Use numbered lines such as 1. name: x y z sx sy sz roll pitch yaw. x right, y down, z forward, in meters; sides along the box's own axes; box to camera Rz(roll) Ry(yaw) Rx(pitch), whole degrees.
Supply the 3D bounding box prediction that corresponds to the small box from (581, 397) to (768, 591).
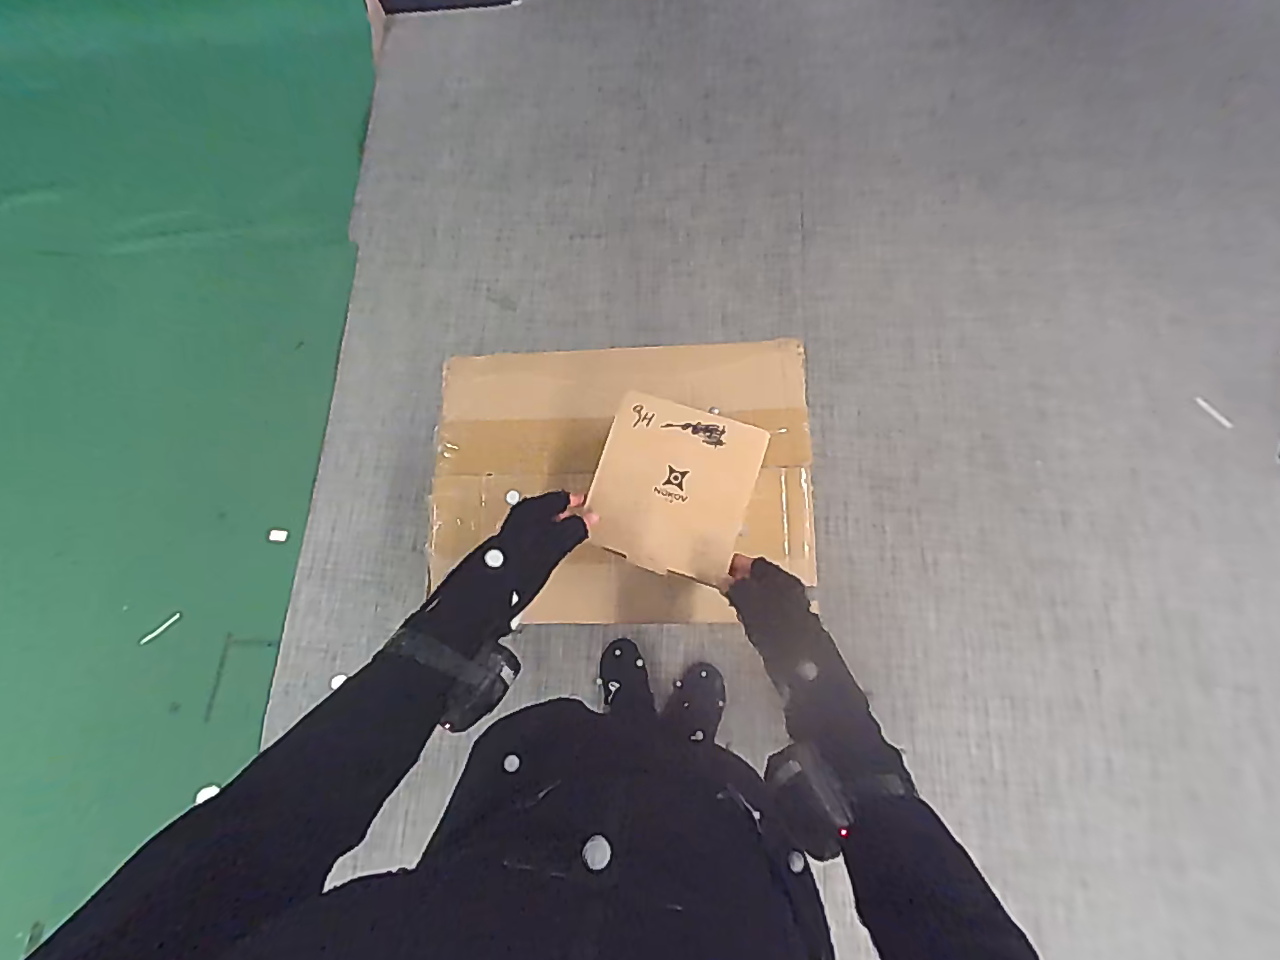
1. small box: 0.044 0.022 0.655 0.168 0.176 0.179 15 84 6
